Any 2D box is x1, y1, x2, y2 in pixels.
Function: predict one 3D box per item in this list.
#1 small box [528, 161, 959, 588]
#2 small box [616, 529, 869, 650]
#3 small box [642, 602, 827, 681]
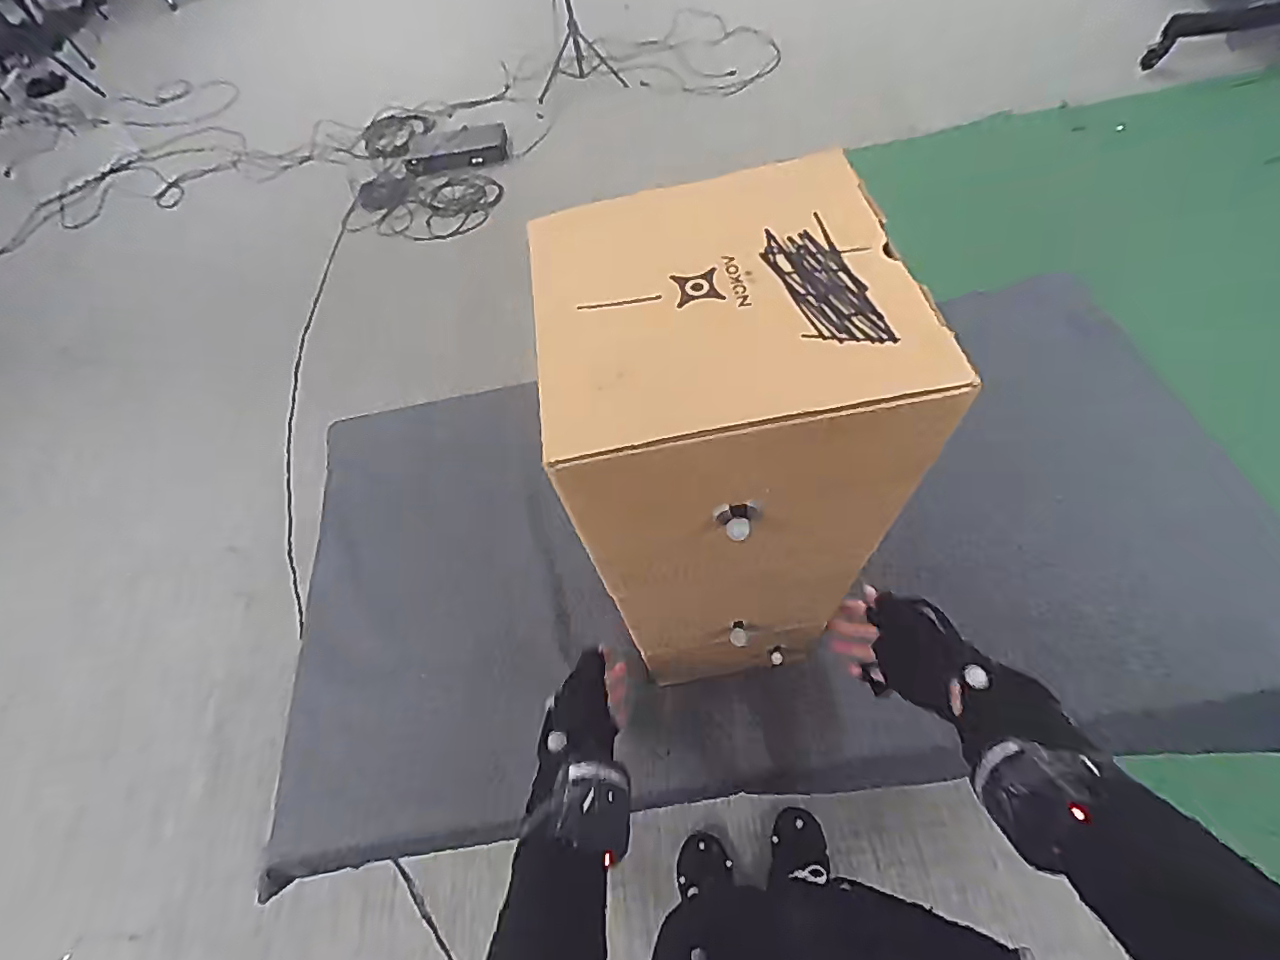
[{"bbox_3d":[0.043,-0.049,0.325,0.179,0.176,0.168,-11,59,3],"label":"small box"},{"bbox_3d":[0.064,0.035,0.469,0.179,0.176,0.168,-14,60,1],"label":"small box"},{"bbox_3d":[0.086,0.114,0.607,0.179,0.176,0.168,-13,58,2],"label":"small box"}]
